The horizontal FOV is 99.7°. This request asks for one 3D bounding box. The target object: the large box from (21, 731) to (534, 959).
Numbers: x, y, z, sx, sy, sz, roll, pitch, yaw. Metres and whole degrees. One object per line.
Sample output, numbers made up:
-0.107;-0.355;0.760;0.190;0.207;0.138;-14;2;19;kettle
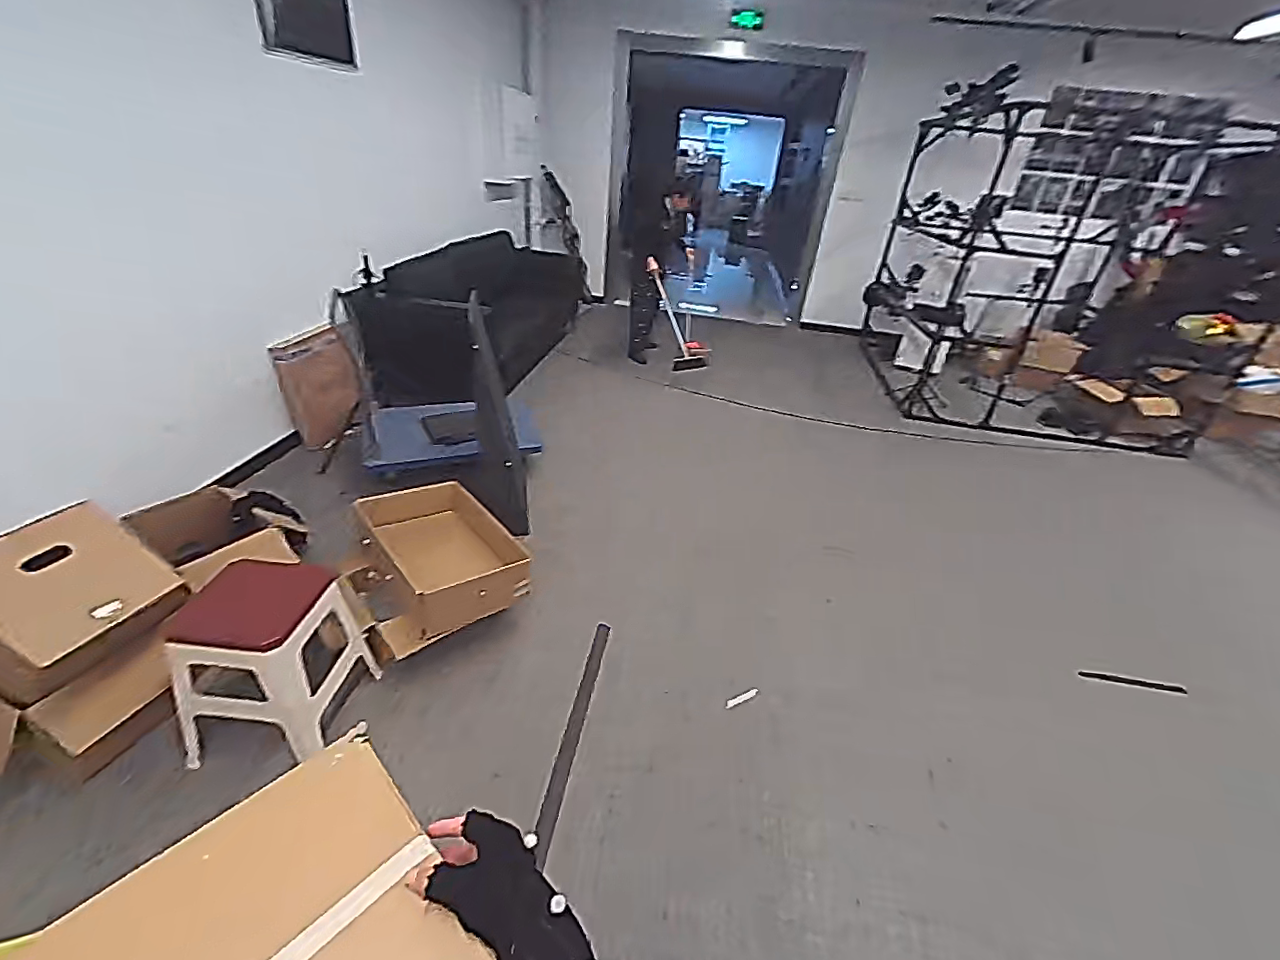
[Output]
-0.329;0.537;0.477;0.408;0.320;0.320;-27;45;-38;large box
